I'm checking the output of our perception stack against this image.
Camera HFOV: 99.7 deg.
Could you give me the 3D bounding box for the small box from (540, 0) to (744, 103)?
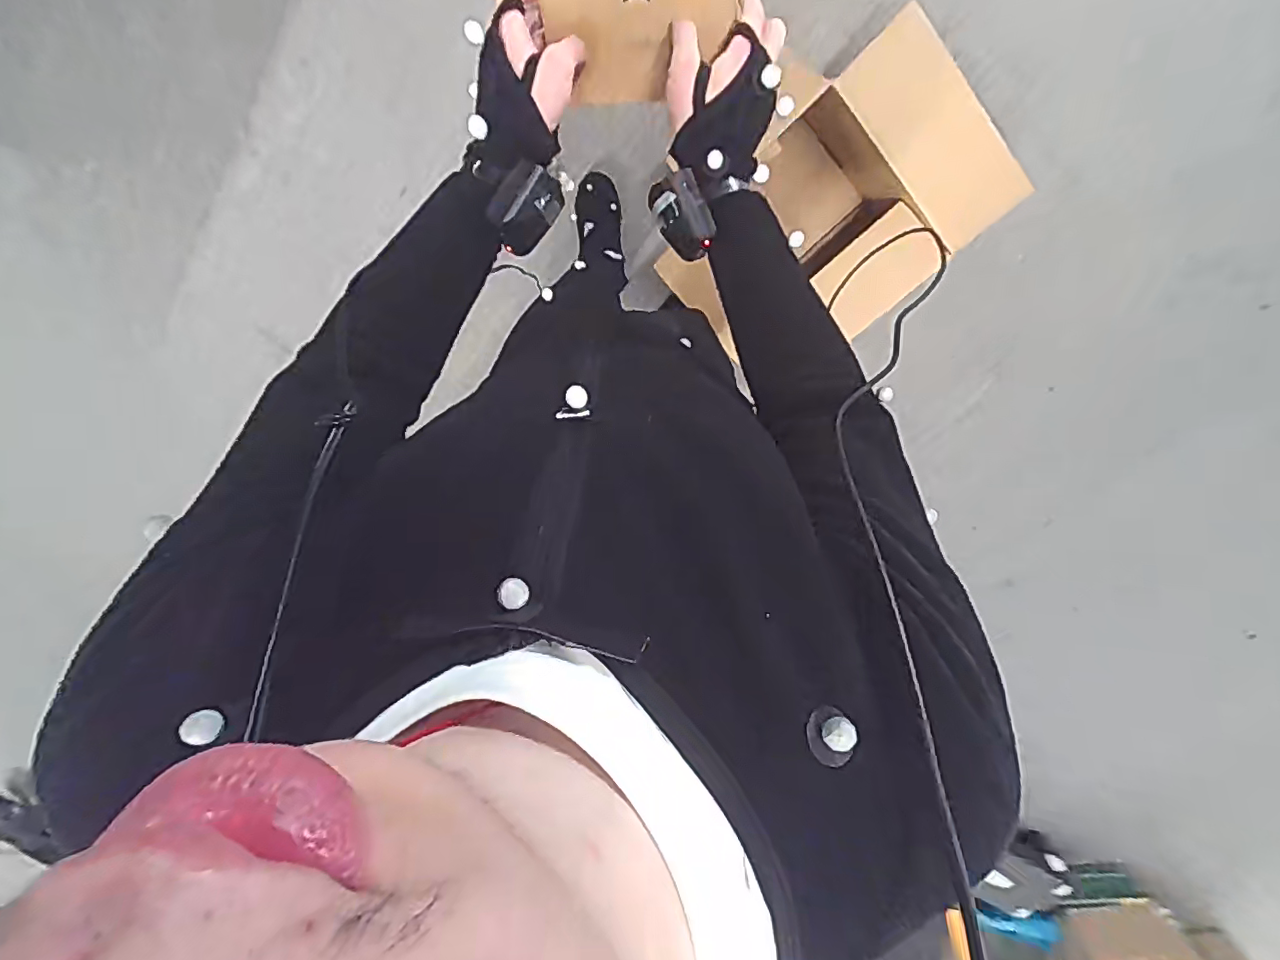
[{"bbox_3d":[0.009,-0.456,0.472,0.168,0.176,0.179,4,138,9],"label":"small box"}]
